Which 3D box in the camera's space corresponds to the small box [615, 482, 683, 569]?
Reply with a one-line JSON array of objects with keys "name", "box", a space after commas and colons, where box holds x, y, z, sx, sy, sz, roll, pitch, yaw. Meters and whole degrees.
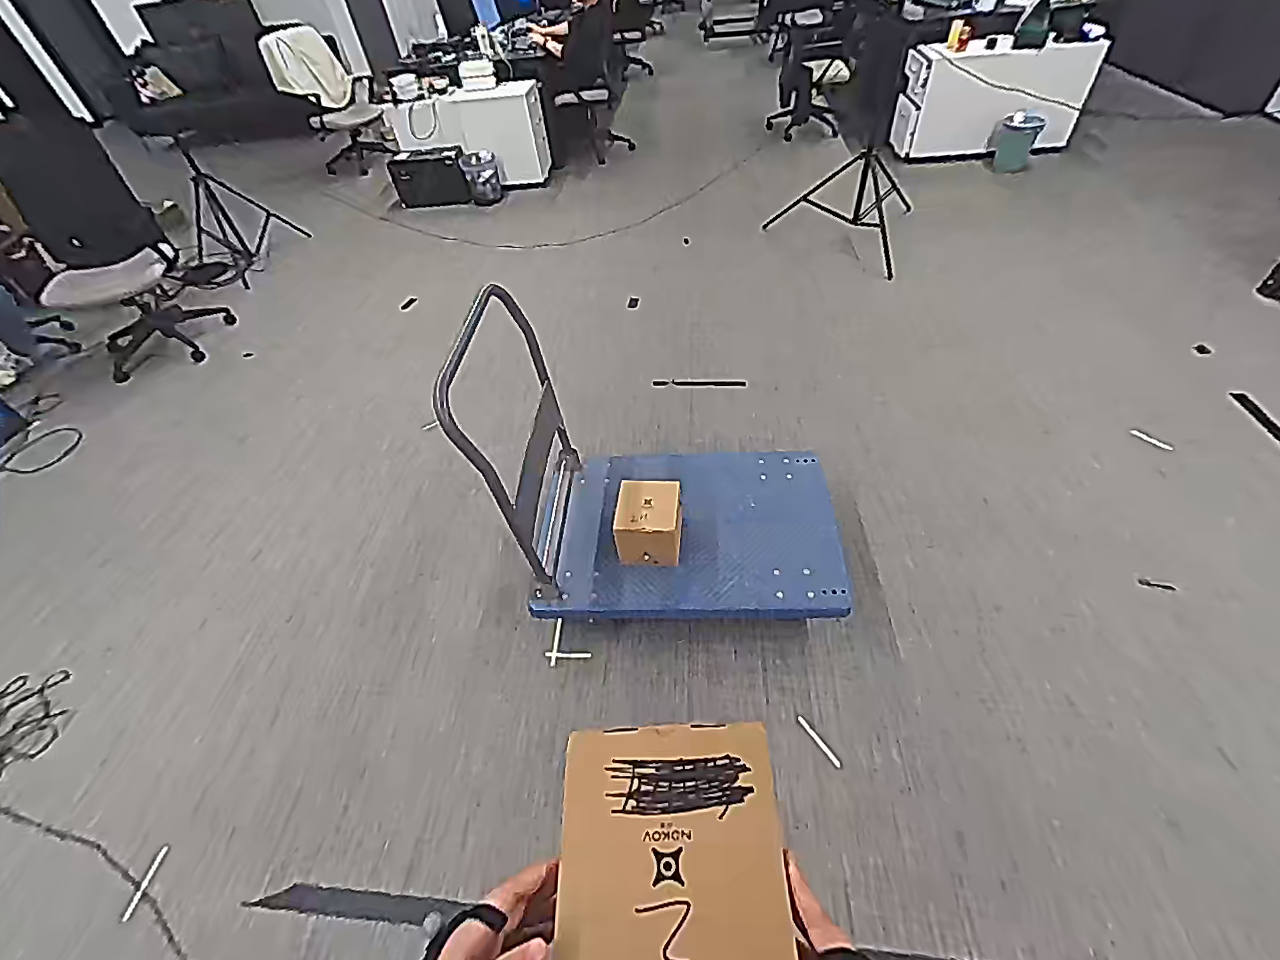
[{"name": "small box", "box": [0.031, 0.127, 1.514, 0.168, 0.176, 0.179, 1, 48, 9]}]
